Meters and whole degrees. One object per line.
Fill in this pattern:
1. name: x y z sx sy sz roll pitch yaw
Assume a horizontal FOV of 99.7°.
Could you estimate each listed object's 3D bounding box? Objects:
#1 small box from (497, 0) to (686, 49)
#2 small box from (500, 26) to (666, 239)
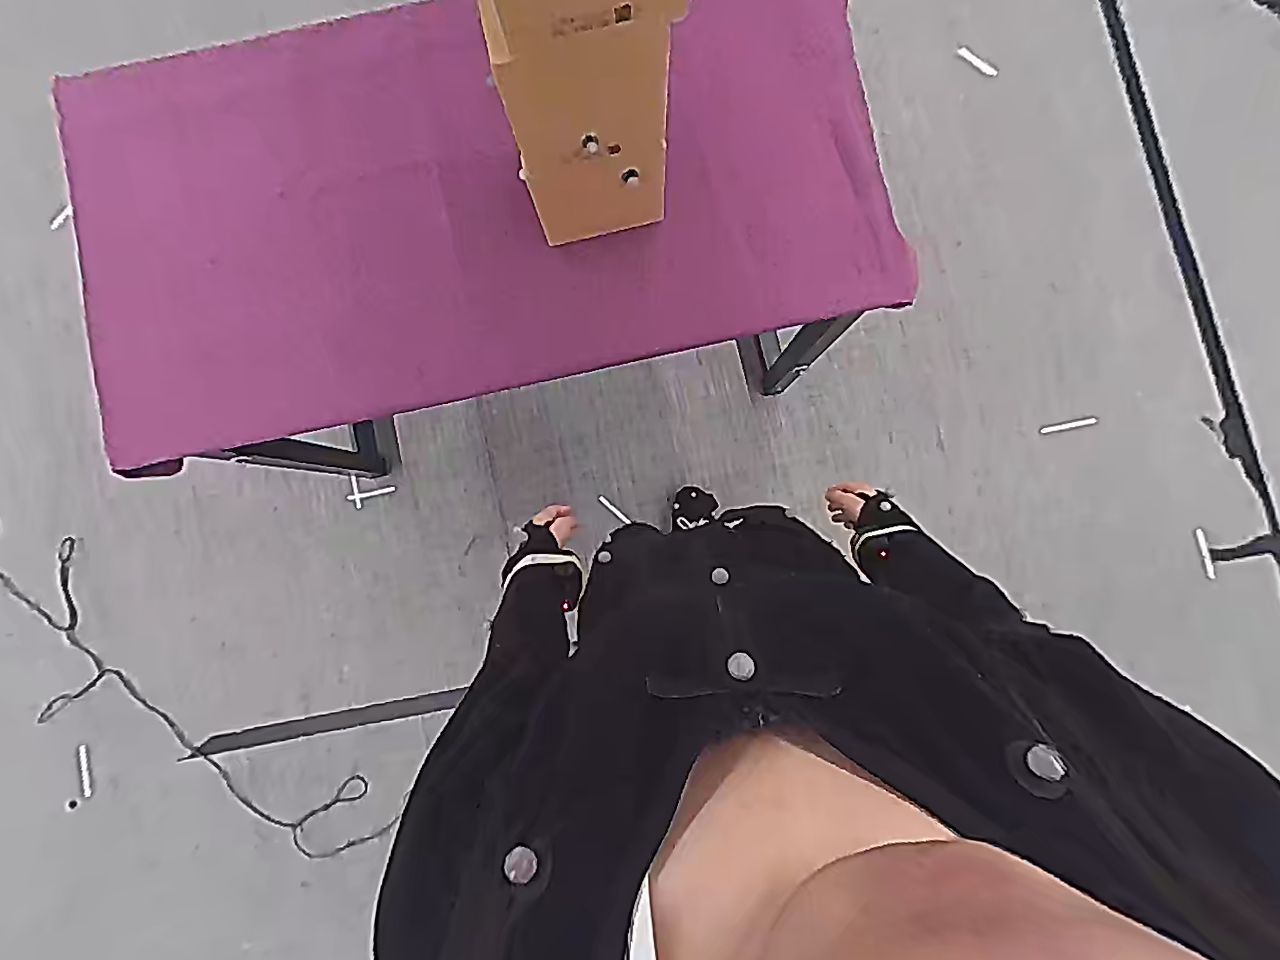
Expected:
1. small box: -0.056 -0.482 0.402 0.168 0.176 0.179 -13 86 0
2. small box: -0.068 -0.456 0.728 0.179 0.176 0.168 -13 85 1
